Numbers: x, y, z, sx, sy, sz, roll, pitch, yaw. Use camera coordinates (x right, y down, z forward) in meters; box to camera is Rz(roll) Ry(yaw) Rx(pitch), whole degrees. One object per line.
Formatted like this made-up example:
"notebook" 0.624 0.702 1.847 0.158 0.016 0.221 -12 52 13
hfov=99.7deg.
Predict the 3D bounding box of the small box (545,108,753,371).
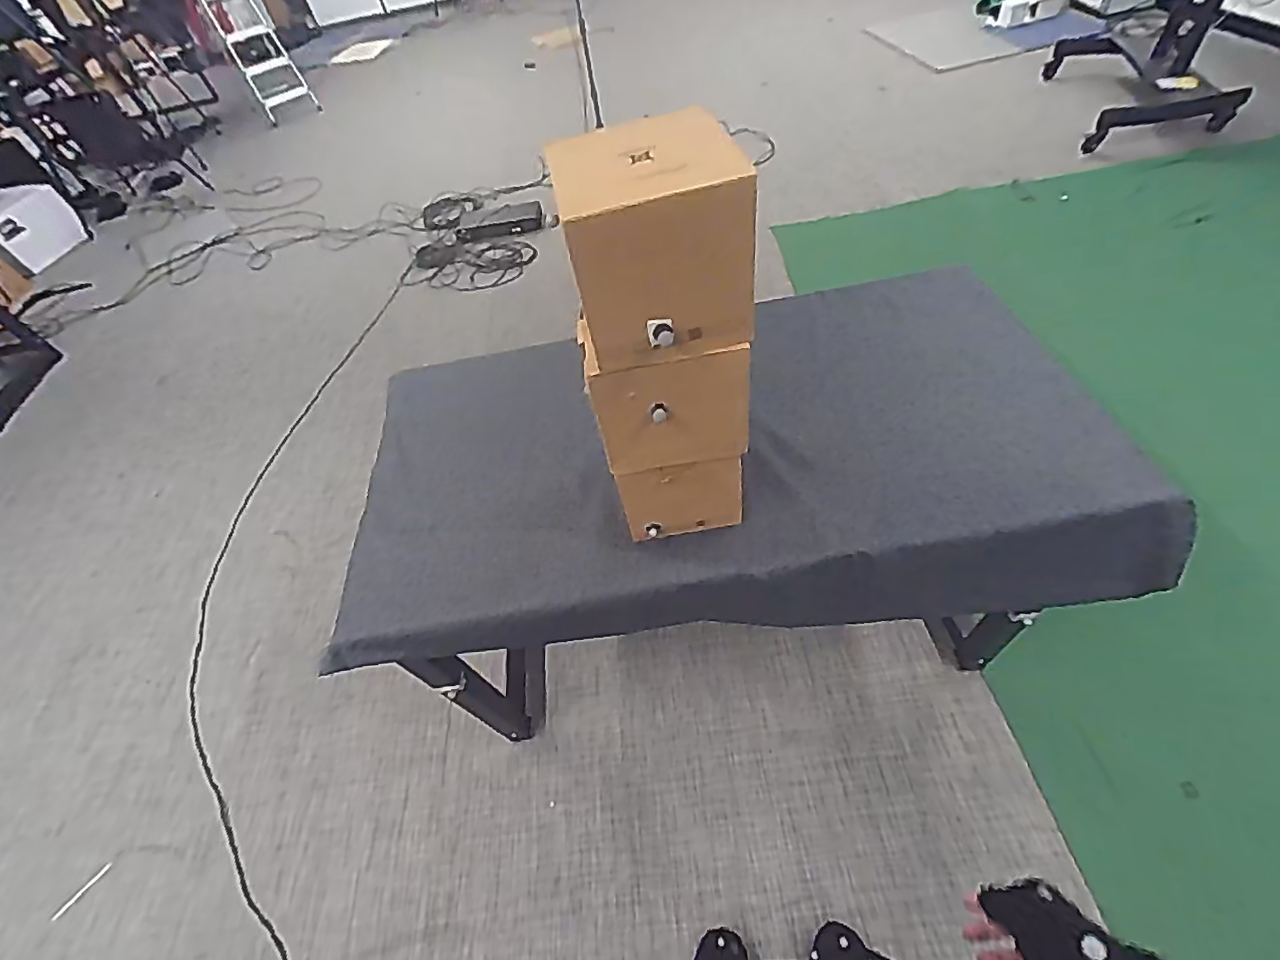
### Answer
"small box" 0.009 -0.243 0.555 0.168 0.176 0.179 -15 52 0

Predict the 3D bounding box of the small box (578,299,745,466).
"small box" 0.028 -0.137 0.681 0.179 0.176 0.168 -11 49 0

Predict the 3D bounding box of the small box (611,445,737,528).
"small box" 0.048 -0.043 0.809 0.168 0.176 0.179 -10 50 3
